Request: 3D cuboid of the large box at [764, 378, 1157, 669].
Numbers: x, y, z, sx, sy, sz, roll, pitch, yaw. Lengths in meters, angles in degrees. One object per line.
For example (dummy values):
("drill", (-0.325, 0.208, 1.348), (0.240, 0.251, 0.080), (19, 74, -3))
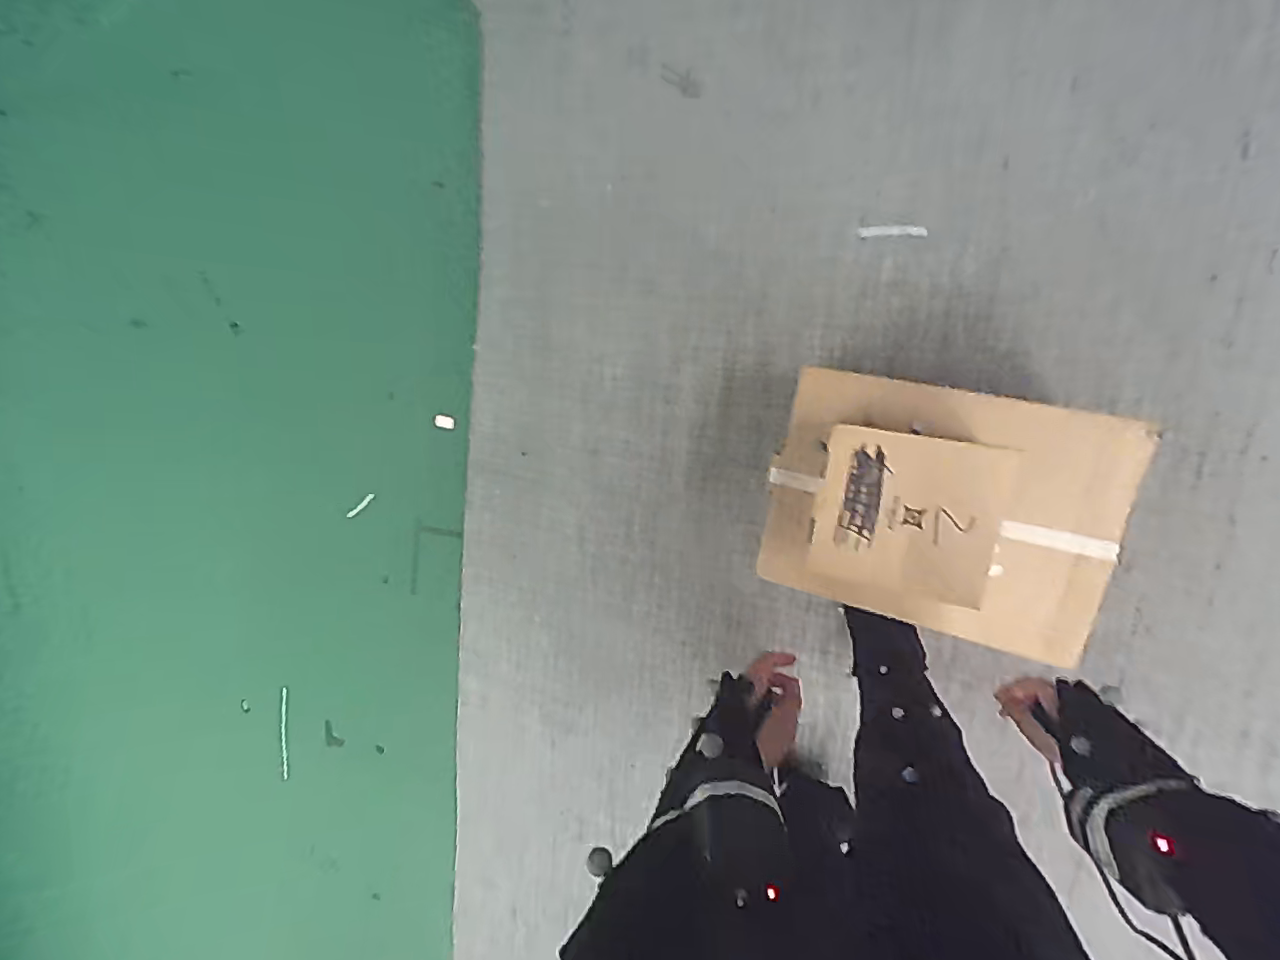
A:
("large box", (0.435, 0.034, 0.845), (0.408, 0.320, 0.320), (14, 101, 18))
